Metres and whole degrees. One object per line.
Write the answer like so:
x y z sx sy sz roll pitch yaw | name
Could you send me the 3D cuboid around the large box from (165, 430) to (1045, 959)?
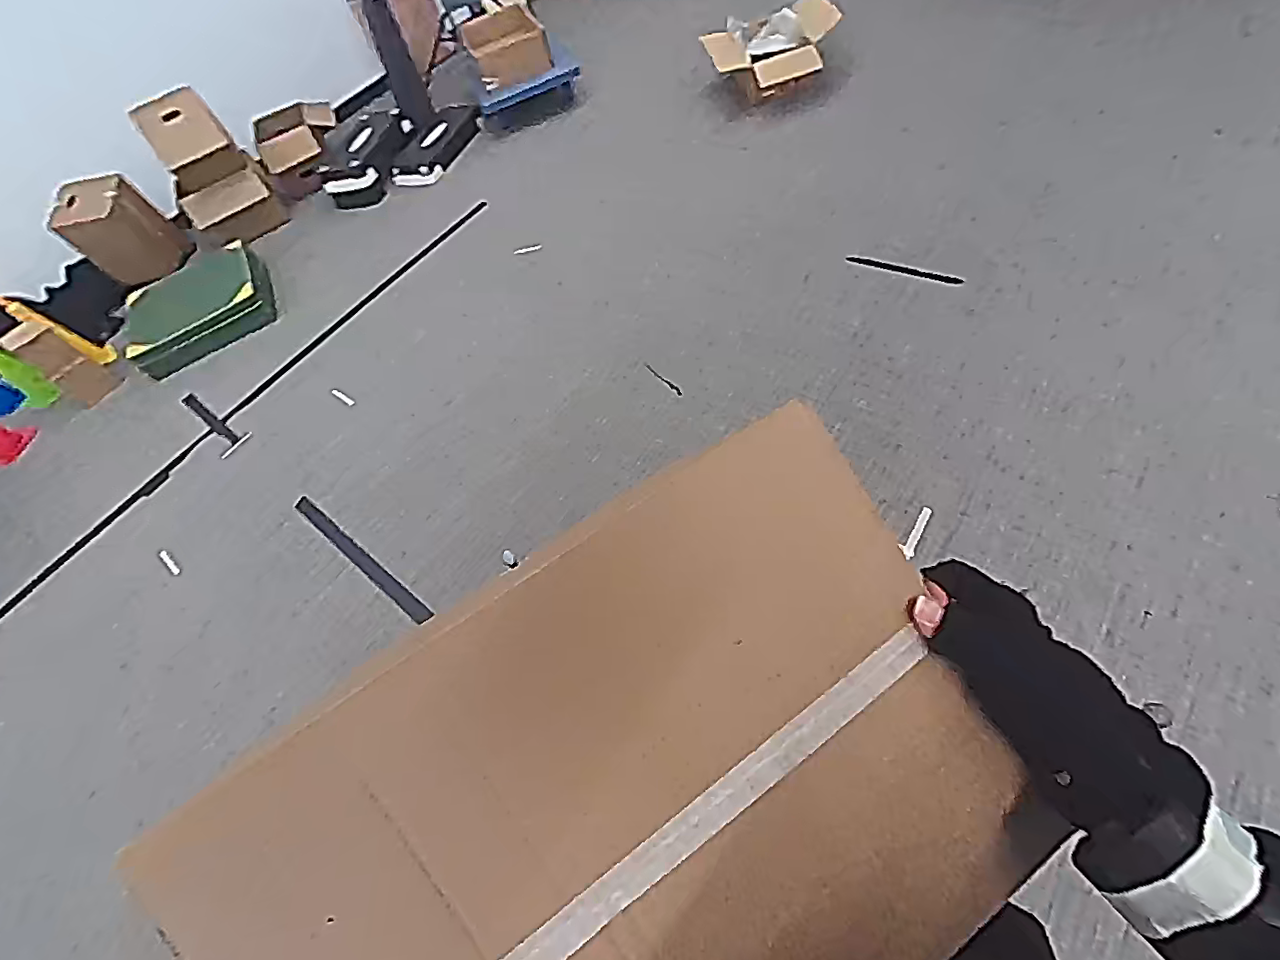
-0.010 0.211 0.443 0.408 0.320 0.320 -34 92 -11 | large box
